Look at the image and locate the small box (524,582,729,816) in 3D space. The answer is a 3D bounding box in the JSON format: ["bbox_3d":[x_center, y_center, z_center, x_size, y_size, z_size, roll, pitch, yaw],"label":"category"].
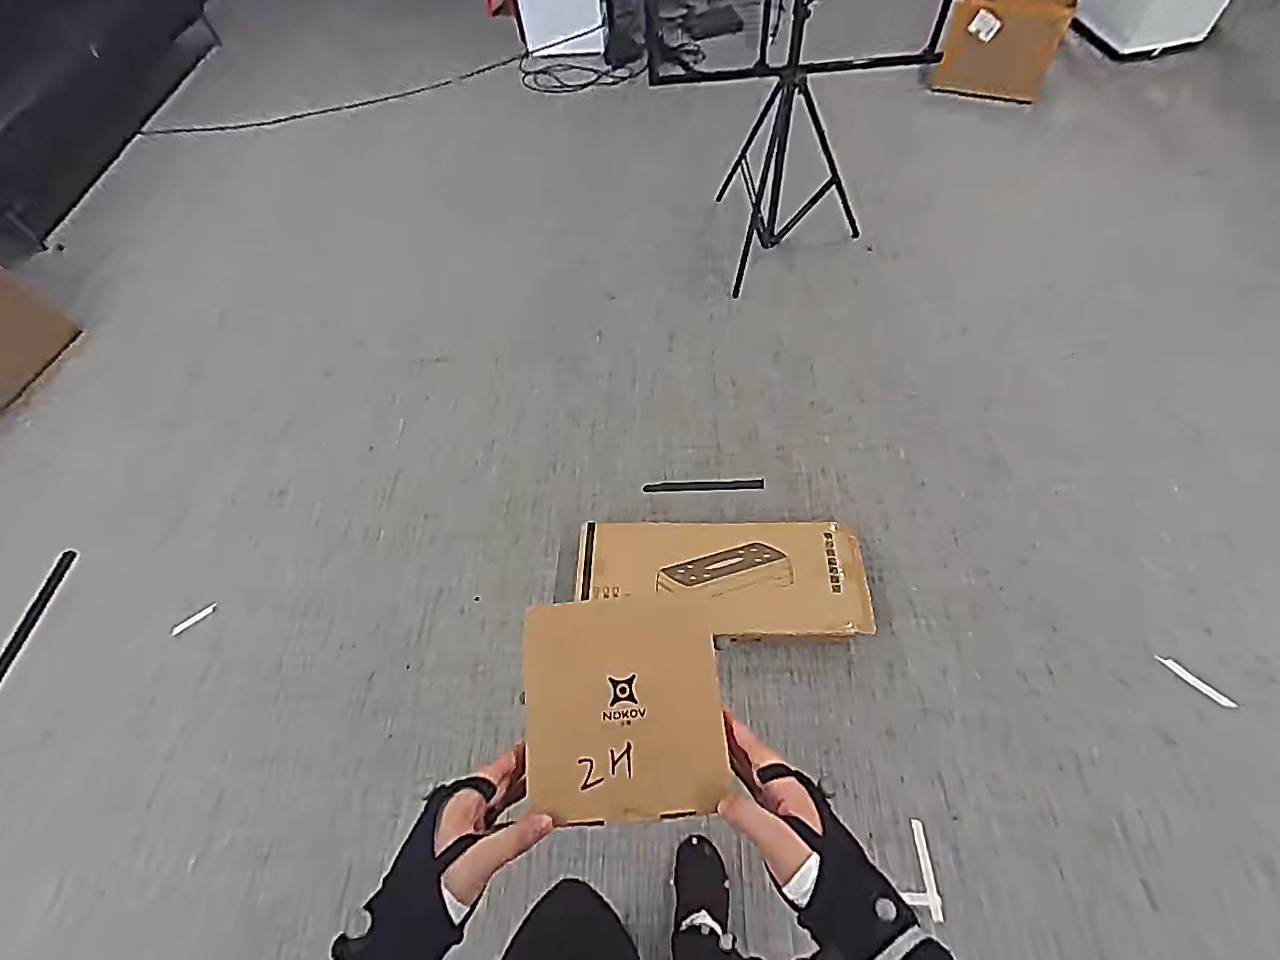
[{"bbox_3d":[-0.012,0.209,0.531,0.168,0.176,0.179,-6,69,2],"label":"small box"}]
